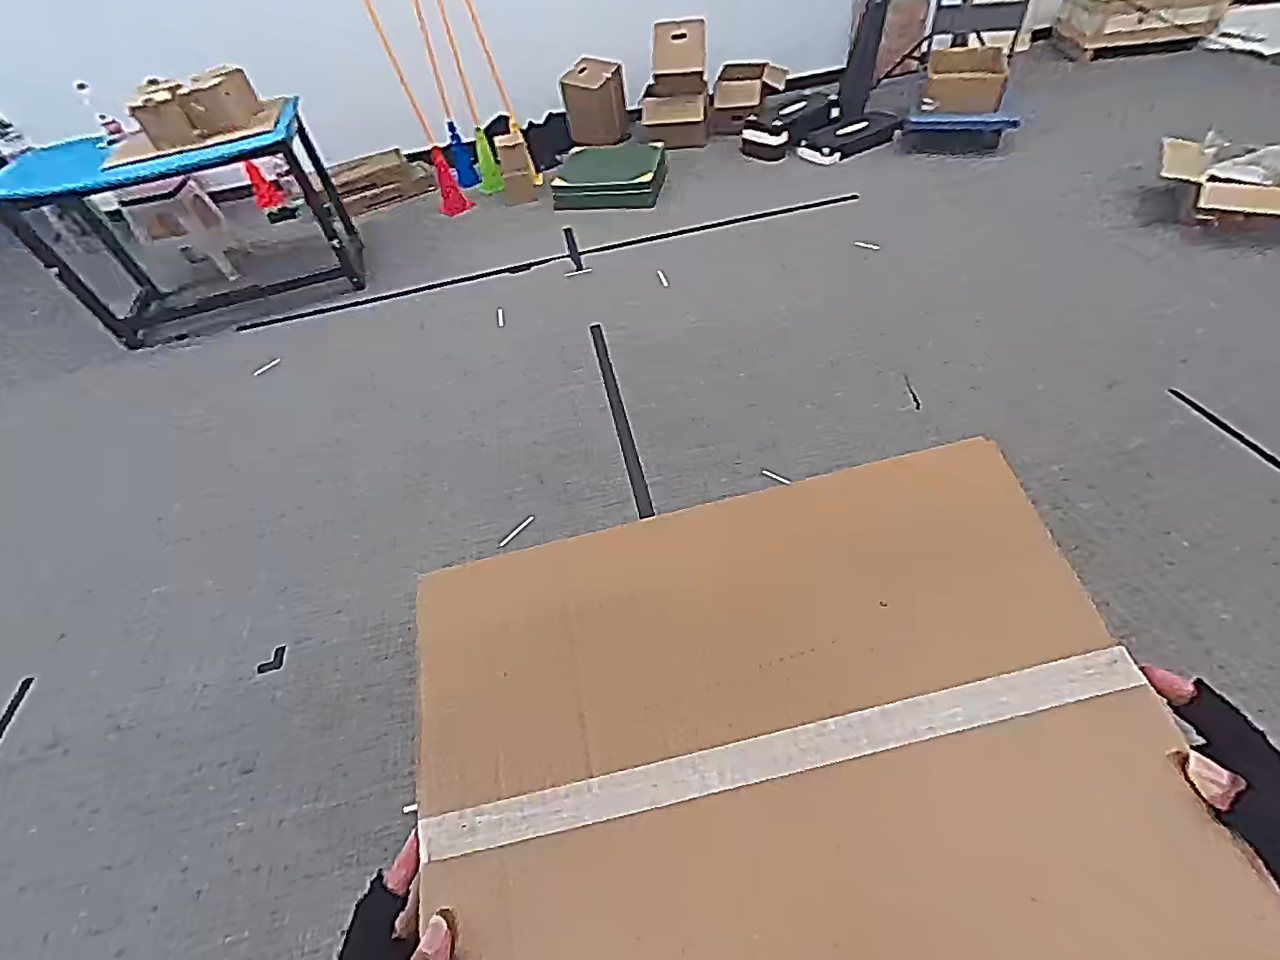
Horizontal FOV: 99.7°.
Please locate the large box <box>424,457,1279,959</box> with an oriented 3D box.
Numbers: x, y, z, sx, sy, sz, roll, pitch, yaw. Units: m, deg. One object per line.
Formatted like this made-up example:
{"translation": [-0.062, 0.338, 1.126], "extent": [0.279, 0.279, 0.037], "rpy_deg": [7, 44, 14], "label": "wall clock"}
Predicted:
{"translation": [0.093, 0.229, 0.438], "extent": [0.408, 0.320, 0.320], "rpy_deg": [-14, 61, 0], "label": "large box"}
